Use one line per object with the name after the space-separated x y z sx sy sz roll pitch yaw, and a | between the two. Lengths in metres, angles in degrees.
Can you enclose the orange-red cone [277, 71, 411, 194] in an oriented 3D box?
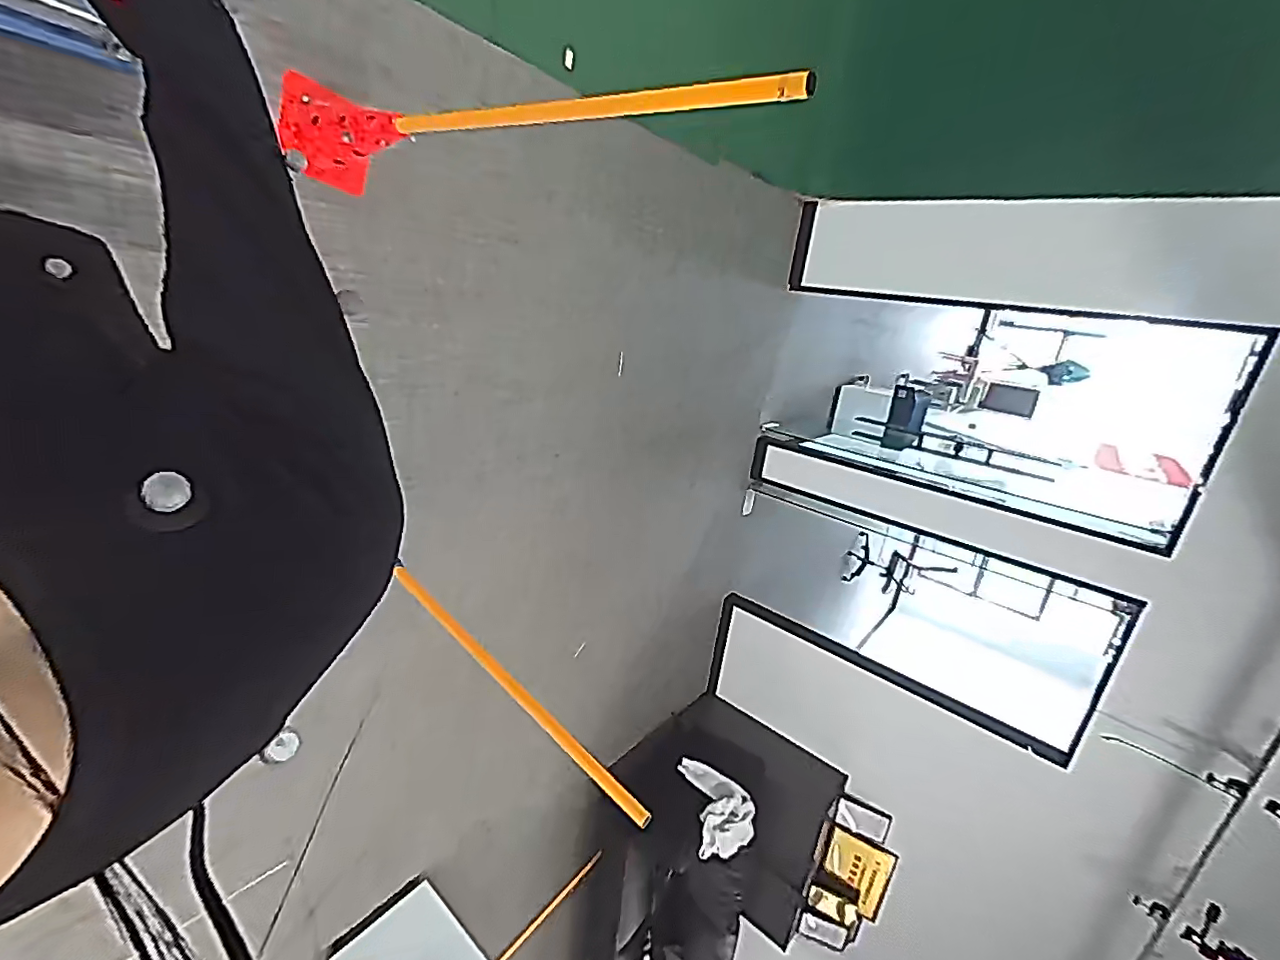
-0.602 -0.756 1.171 0.198 0.360 0.199 3 105 -53 | orange-red cone
